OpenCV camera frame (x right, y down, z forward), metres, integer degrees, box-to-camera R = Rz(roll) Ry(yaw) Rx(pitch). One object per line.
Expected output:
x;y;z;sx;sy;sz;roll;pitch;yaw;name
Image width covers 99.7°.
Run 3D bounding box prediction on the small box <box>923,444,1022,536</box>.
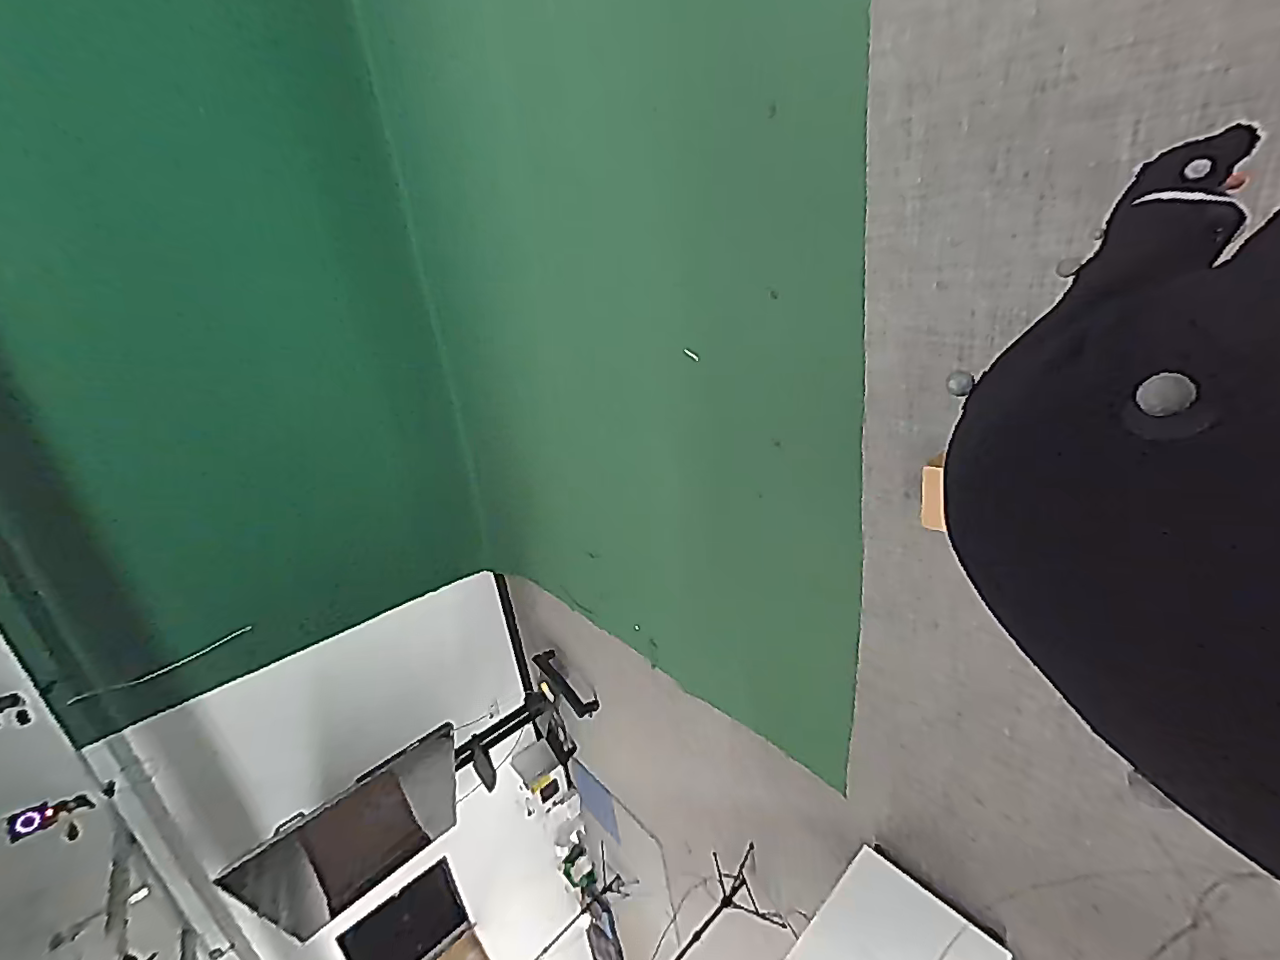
0.844;0.016;1.371;0.168;0.176;0.179;15;120;49;small box
